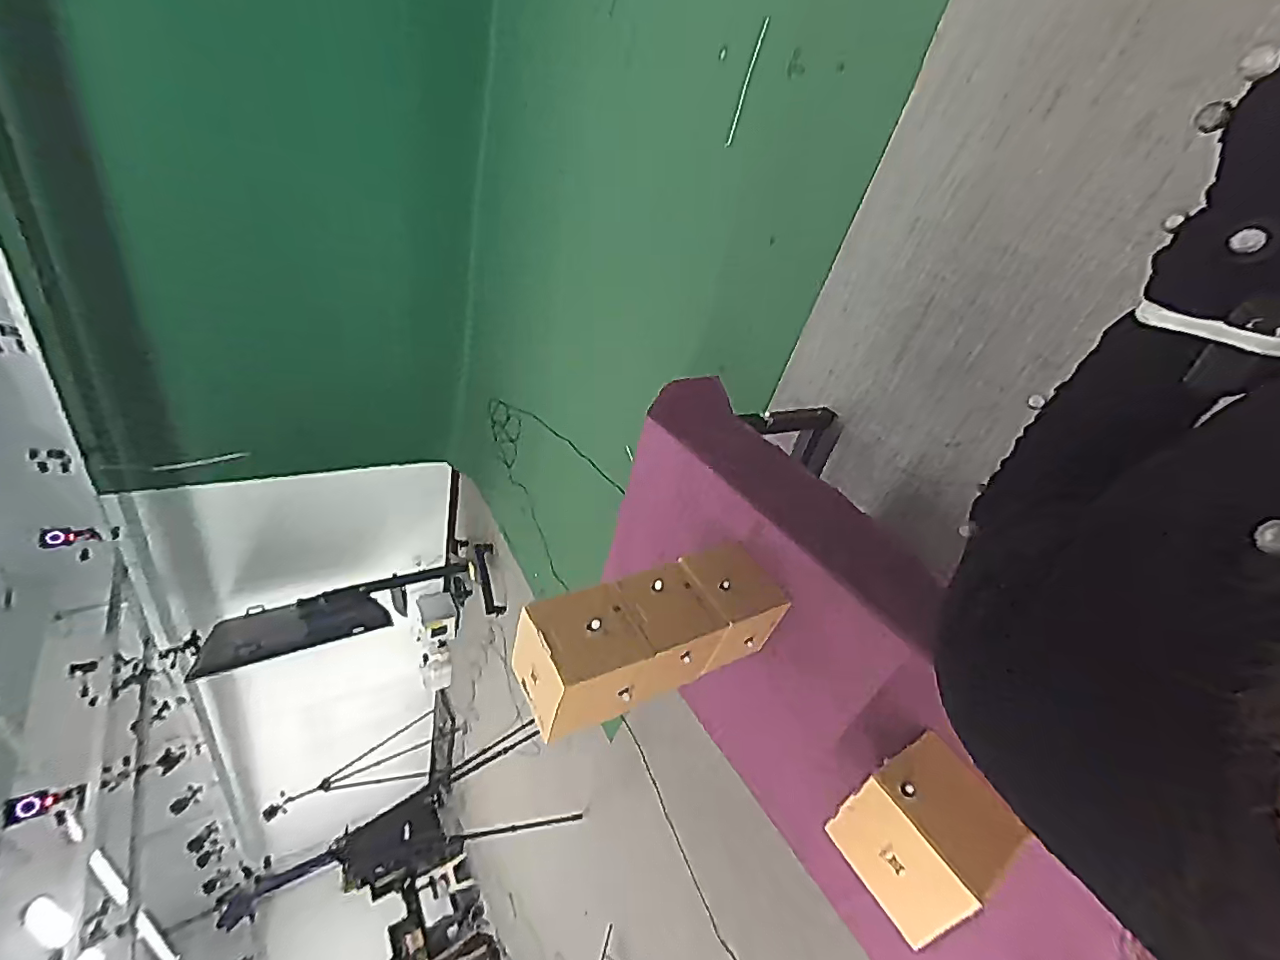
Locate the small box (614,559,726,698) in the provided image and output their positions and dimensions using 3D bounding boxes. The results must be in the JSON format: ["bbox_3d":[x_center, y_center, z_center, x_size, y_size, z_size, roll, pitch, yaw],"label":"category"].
[{"bbox_3d":[0.040,0.276,1.035,0.168,0.176,0.179,53,138,37],"label":"small box"}]

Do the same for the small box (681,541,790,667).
[{"bbox_3d":[0.176,0.248,1.120,0.179,0.176,0.168,52,136,36],"label":"small box"}]

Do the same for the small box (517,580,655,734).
[{"bbox_3d":[-0.095,0.299,0.943,0.168,0.176,0.179,52,136,38],"label":"small box"}]

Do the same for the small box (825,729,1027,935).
[{"bbox_3d":[0.425,0.516,0.812,0.179,0.176,0.168,49,135,40],"label":"small box"}]
